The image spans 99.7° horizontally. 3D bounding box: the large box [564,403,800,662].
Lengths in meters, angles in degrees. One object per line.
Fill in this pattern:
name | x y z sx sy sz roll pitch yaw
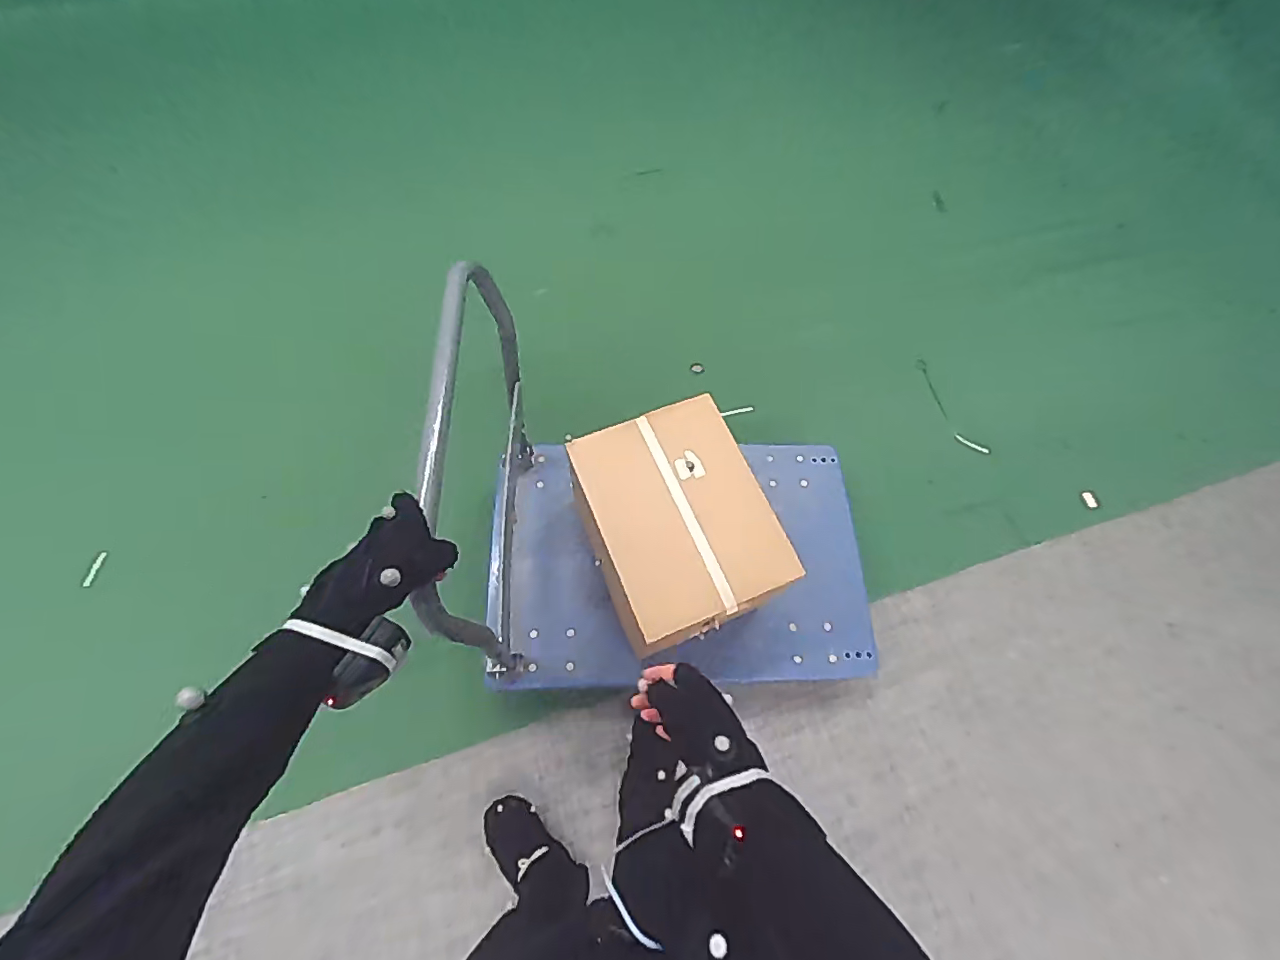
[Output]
large box | 0.066 0.121 1.142 0.320 0.320 0.408 -21 68 -12
